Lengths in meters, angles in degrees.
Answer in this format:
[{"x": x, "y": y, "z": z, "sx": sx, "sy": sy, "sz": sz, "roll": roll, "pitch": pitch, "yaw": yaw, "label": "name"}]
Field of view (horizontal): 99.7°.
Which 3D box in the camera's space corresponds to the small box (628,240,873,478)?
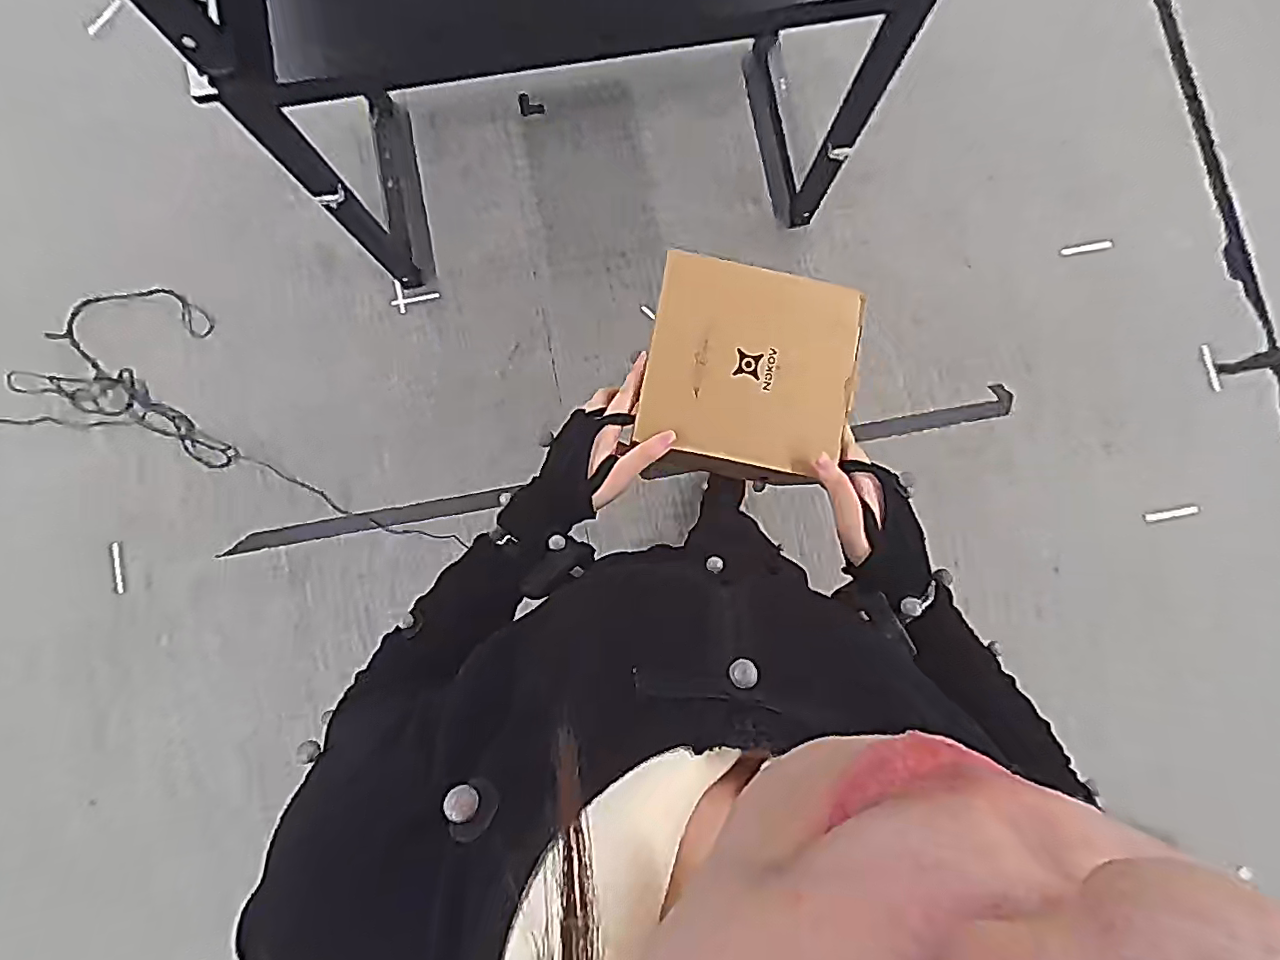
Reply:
[{"x": 0.089, "y": -0.098, "z": 0.520, "sx": 0.179, "sy": 0.176, "sz": 0.168, "roll": 11, "pitch": 87, "yaw": -2, "label": "small box"}]
